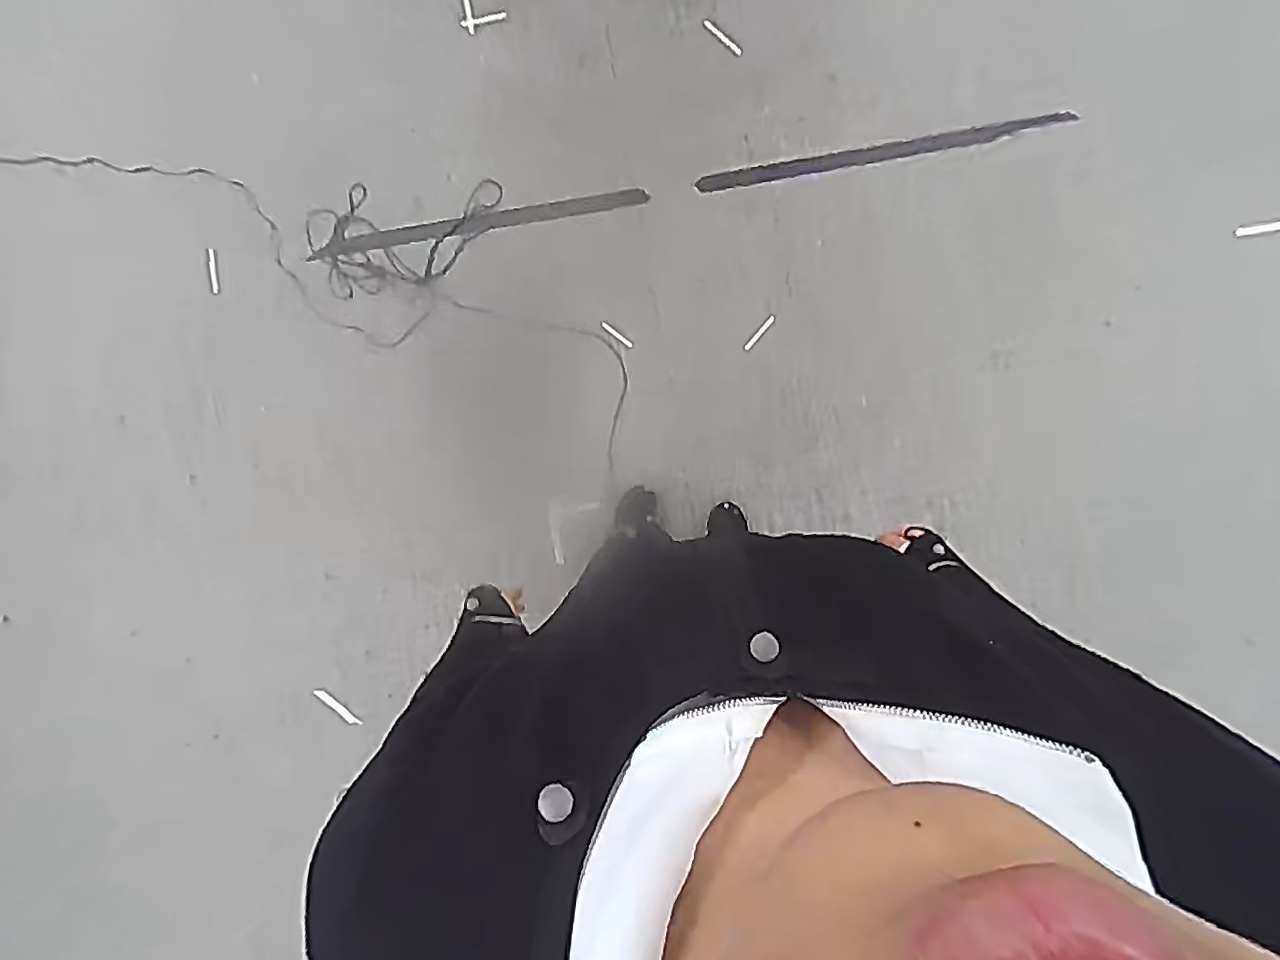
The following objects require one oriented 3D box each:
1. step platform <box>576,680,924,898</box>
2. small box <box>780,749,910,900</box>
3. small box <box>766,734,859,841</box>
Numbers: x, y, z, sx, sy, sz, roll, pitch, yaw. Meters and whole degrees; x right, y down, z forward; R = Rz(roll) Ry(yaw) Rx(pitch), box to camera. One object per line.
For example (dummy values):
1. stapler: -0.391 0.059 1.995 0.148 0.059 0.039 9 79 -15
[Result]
1. step platform: 0.220 0.646 1.168 0.684 0.204 0.286 -11 88 3
2. small box: 0.376 0.645 1.032 0.179 0.176 0.168 -14 88 3
3. small box: 0.385 0.652 1.195 0.179 0.176 0.168 -13 87 2
